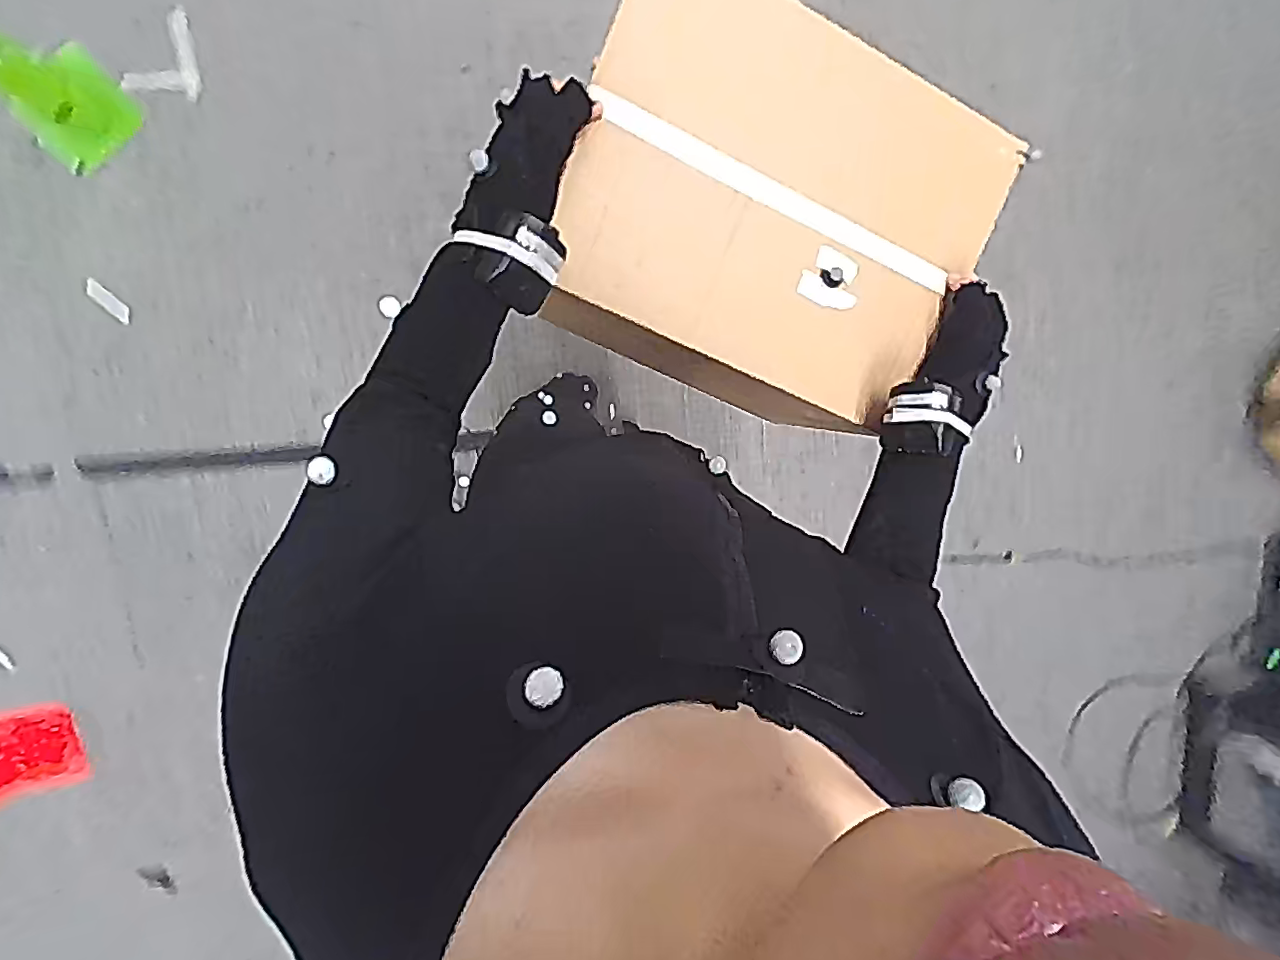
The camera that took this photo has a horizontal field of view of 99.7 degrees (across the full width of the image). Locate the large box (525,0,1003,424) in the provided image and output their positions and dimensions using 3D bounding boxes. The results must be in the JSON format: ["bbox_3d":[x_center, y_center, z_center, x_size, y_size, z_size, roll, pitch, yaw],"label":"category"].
[{"bbox_3d":[0.103,-0.283,0.655,0.408,0.320,0.320,20,96,-12],"label":"large box"}]

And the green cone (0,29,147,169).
[{"bbox_3d":[-1.212,-0.804,1.028,0.200,0.368,0.202,-42,100,-1],"label":"green cone"}]

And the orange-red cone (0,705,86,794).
[{"bbox_3d":[-1.503,0.696,1.199,0.199,0.360,0.198,-8,100,-8],"label":"orange-red cone"}]
